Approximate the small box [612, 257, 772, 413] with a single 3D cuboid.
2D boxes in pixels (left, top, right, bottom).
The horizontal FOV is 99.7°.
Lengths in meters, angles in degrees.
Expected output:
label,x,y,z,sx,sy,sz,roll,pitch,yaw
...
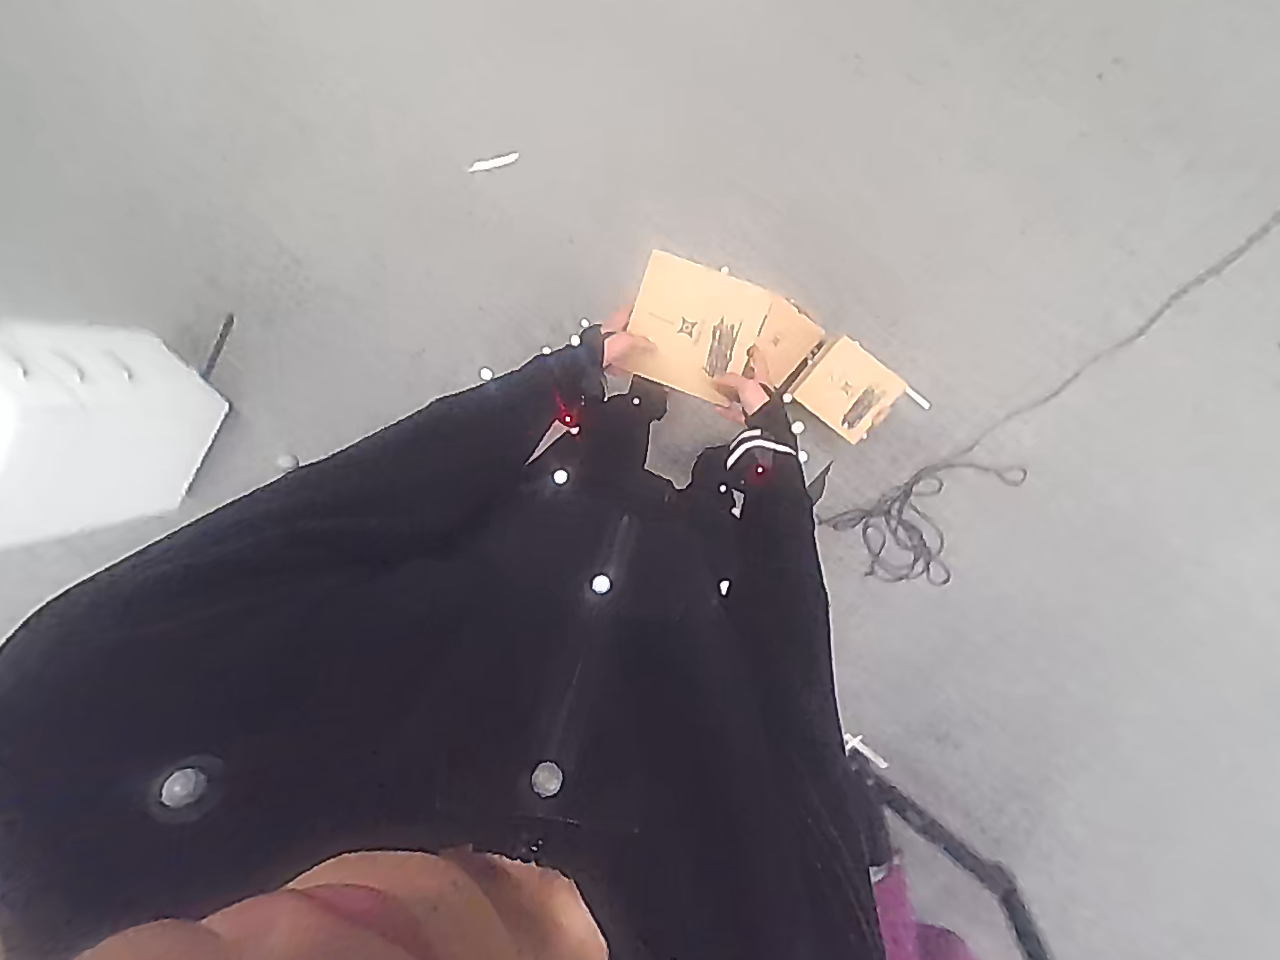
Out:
label,x,y,z,sx,sy,sz,roll,pitch,yaw
small box,0.077,-0.215,0.809,0.179,0.176,0.168,20,106,2
